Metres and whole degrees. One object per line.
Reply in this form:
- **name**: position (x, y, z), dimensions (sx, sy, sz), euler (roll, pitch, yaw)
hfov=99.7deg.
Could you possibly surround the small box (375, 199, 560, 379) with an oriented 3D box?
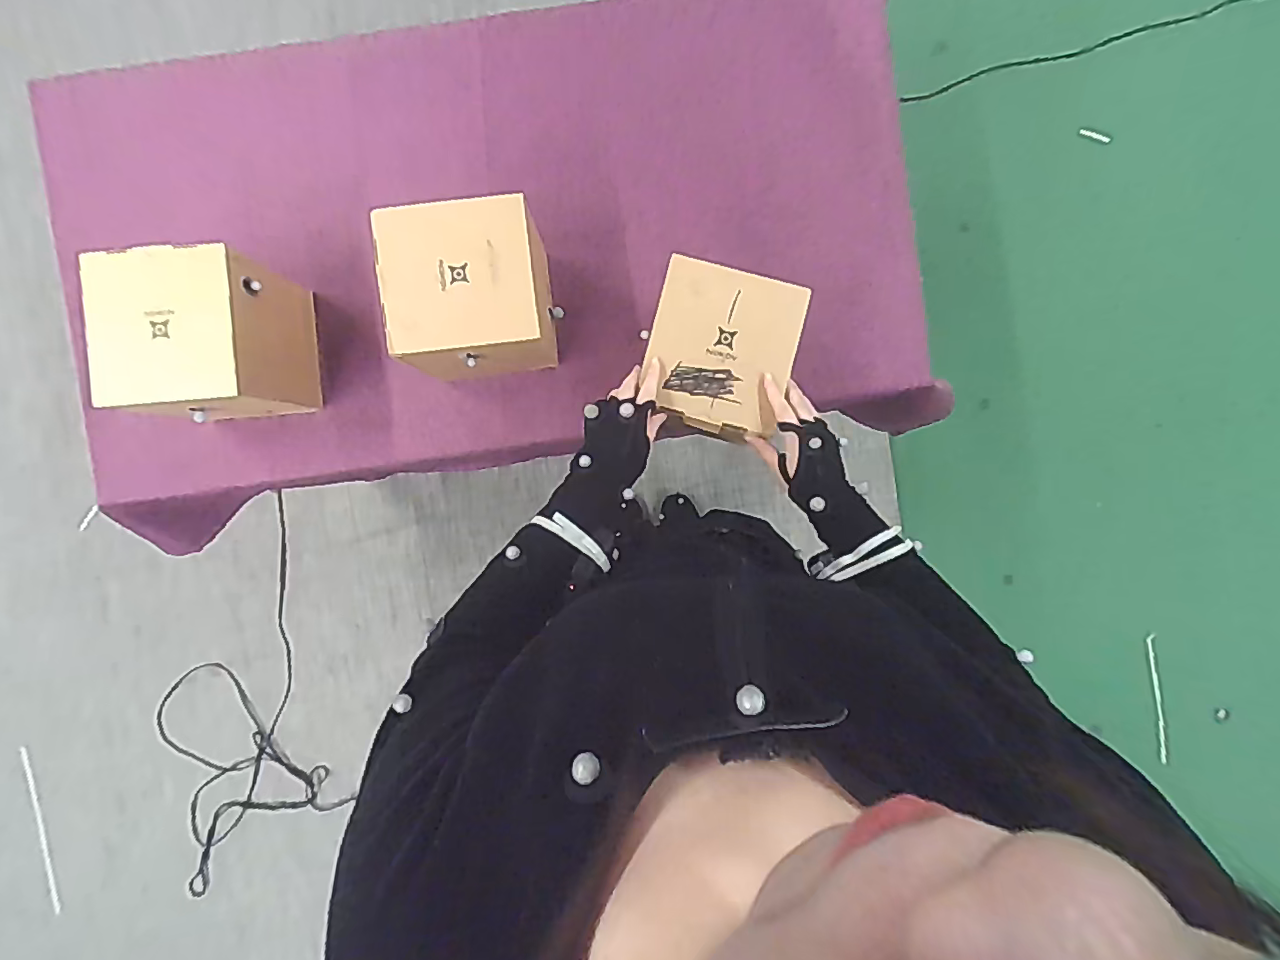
- **small box**: position (-0.207, -0.230, 0.691), dimensions (0.179, 0.176, 0.168), euler (-6, 91, 0)

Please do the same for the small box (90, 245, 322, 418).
- **small box**: position (-0.536, -0.175, 0.693), dimensions (0.168, 0.176, 0.179), euler (-4, 90, 0)

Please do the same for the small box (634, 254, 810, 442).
- **small box**: position (0.093, -0.152, 0.688), dimensions (0.168, 0.176, 0.179), euler (14, 89, 0)
